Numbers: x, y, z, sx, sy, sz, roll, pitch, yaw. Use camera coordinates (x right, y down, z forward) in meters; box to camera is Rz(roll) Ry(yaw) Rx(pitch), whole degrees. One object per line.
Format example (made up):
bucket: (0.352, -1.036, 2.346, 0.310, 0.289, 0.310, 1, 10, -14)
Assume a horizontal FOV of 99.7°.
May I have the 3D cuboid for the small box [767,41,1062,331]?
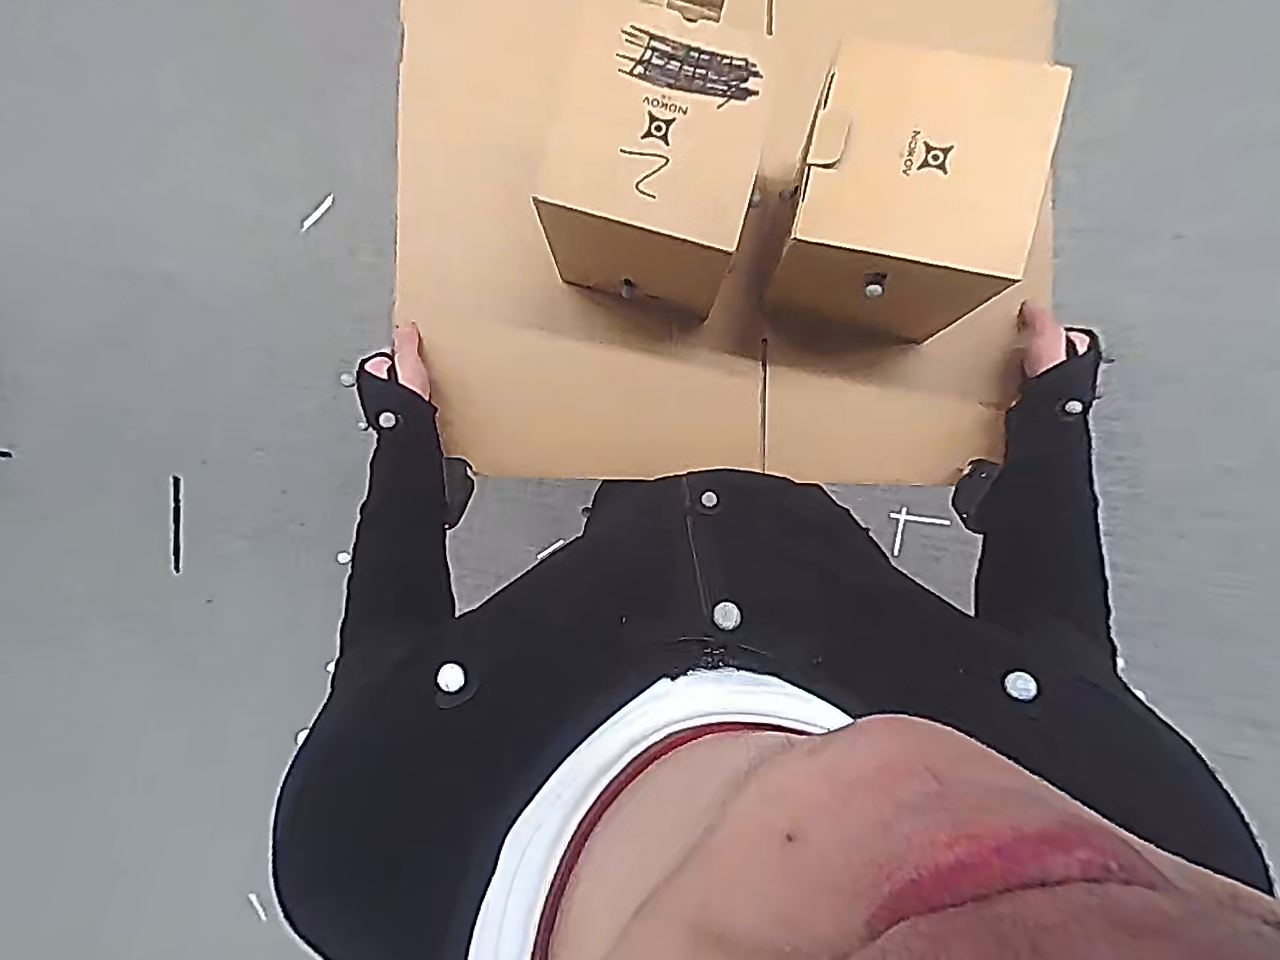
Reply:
small box: (0.231, -0.251, 0.504, 0.179, 0.176, 0.168, 13, 90, 6)
